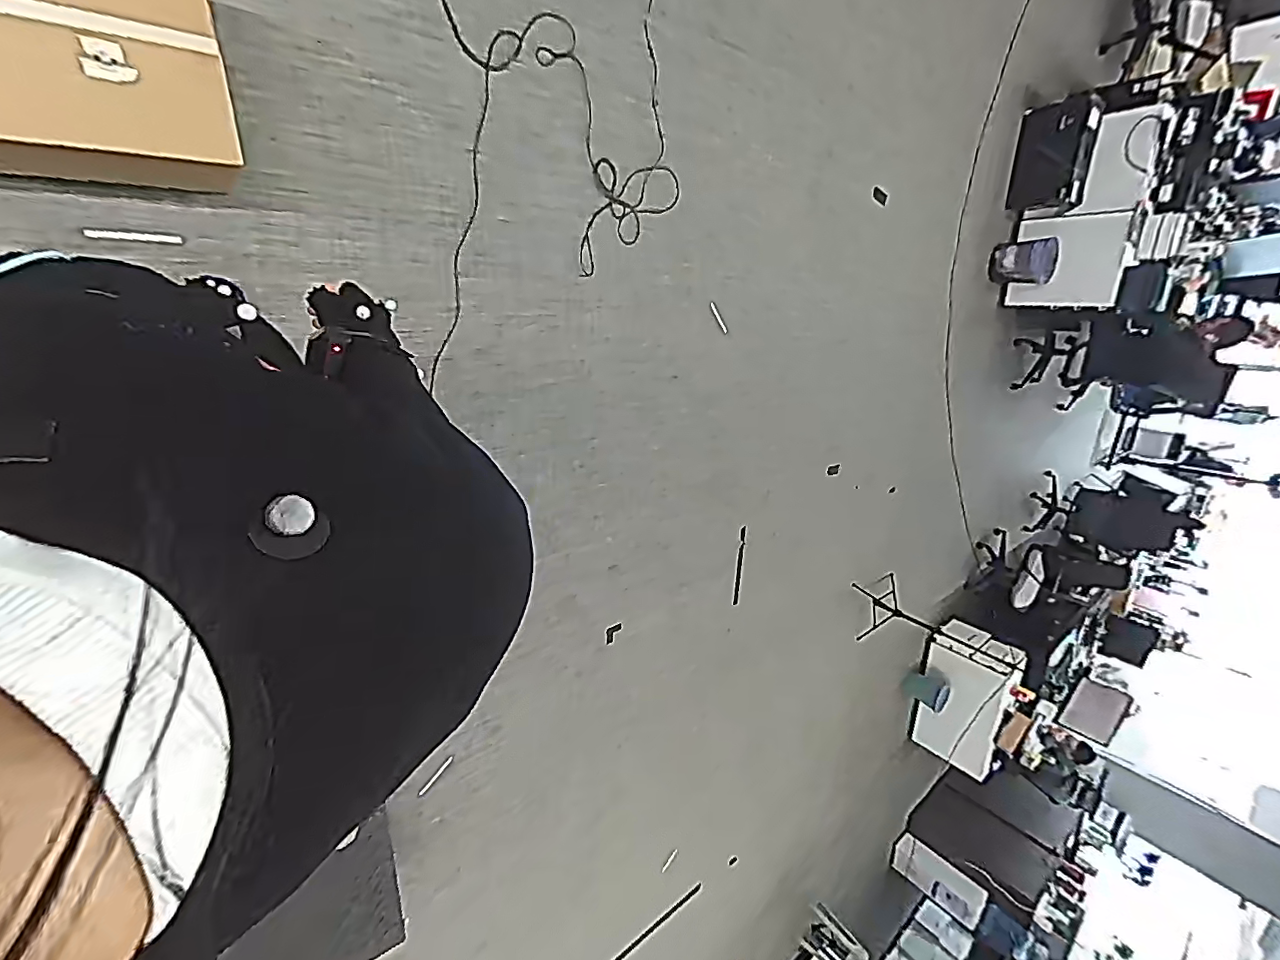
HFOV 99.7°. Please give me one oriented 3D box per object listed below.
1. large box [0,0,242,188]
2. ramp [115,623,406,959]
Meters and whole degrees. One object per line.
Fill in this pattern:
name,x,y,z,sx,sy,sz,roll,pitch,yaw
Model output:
large box,-0.893,-0.651,0.814,0.408,0.320,0.320,-16,115,-37
ramp,-0.928,0.909,1.398,0.509,0.206,0.991,-12,112,-36
